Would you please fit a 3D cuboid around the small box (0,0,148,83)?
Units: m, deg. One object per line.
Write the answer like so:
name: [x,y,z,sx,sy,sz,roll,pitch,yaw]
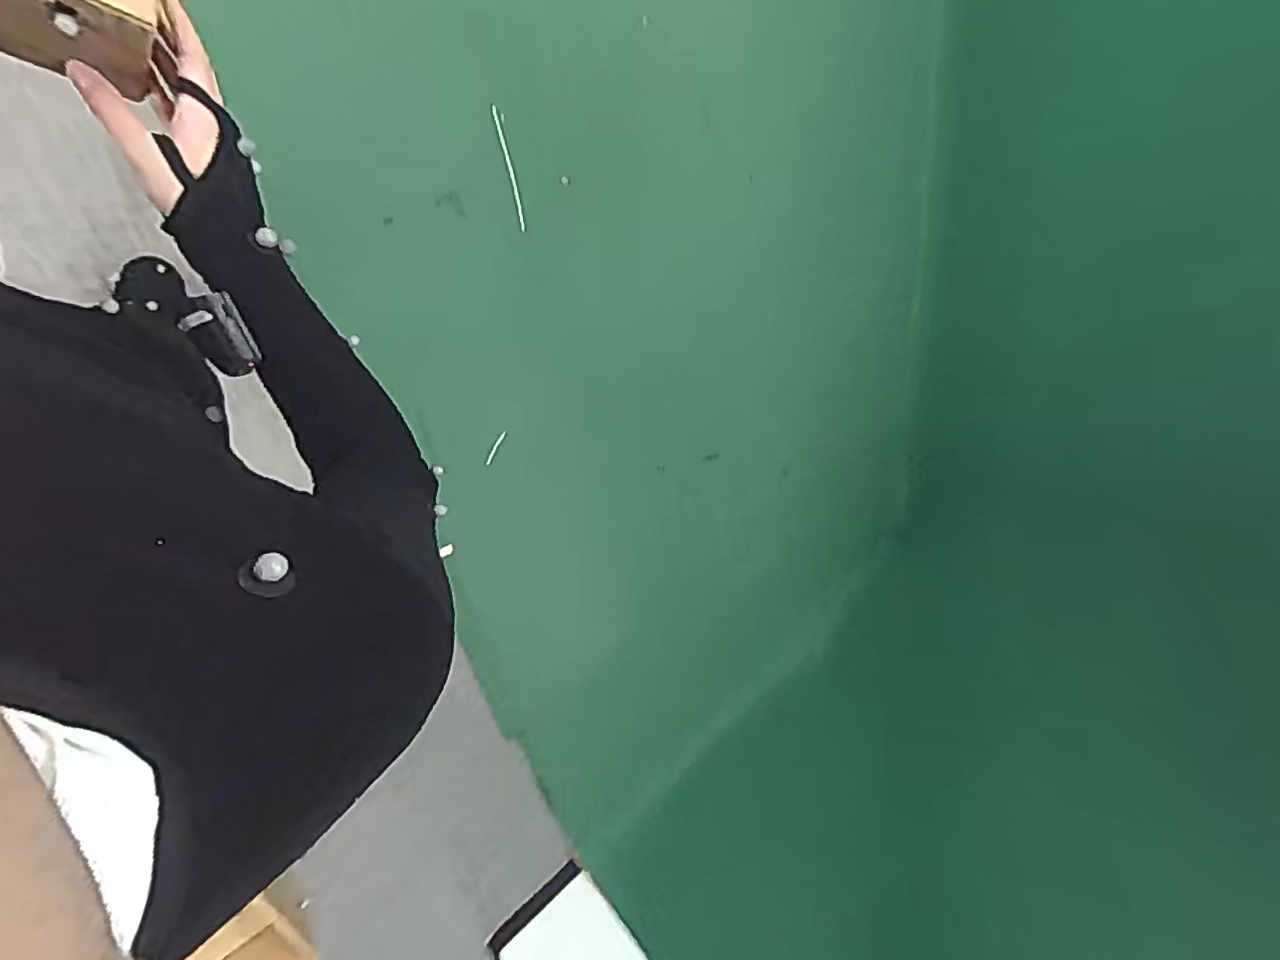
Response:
small box: [-0.416,-0.383,0.323,0.179,0.176,0.168,-1,101,-46]
